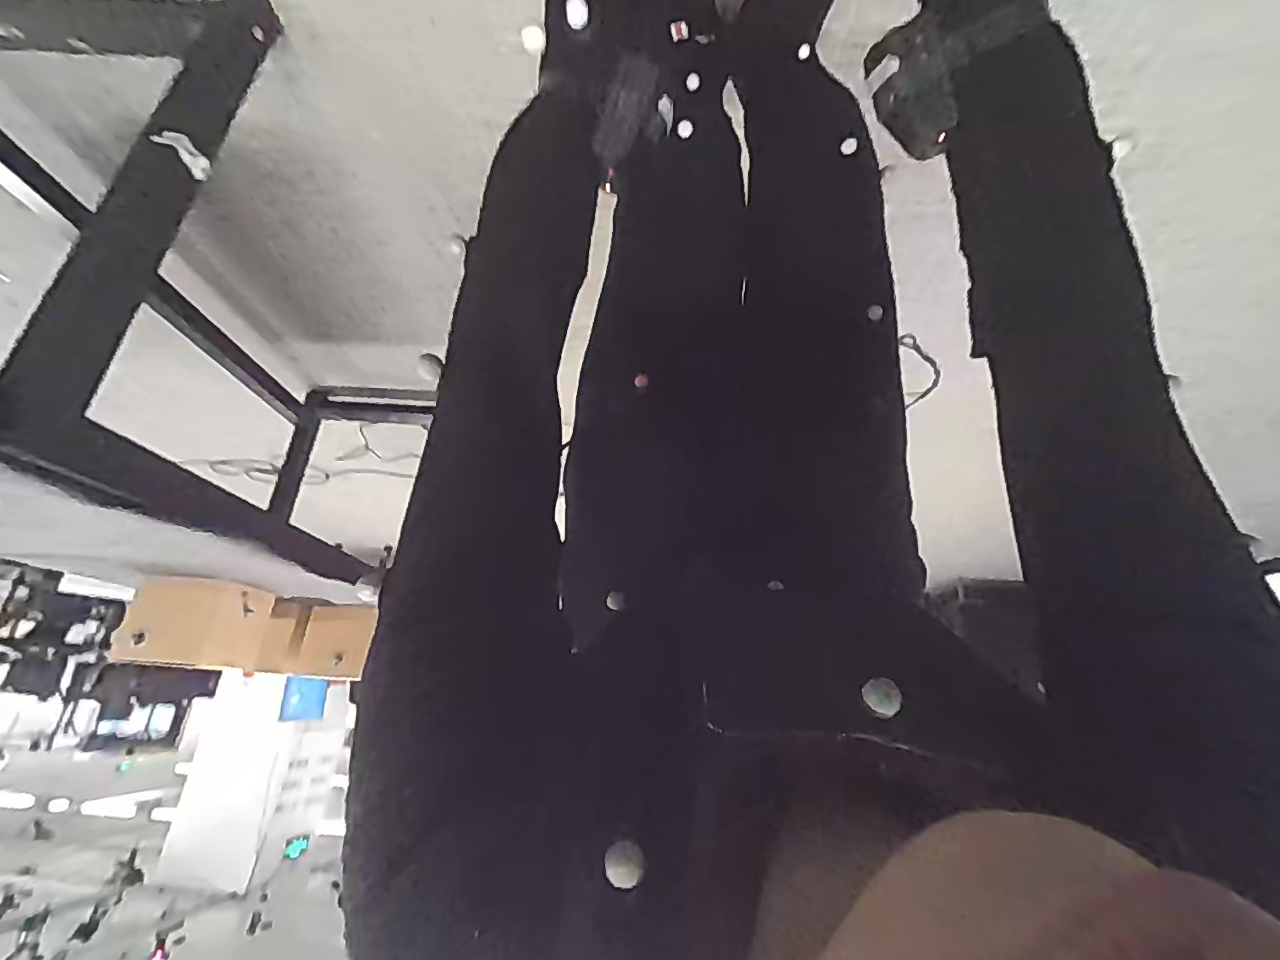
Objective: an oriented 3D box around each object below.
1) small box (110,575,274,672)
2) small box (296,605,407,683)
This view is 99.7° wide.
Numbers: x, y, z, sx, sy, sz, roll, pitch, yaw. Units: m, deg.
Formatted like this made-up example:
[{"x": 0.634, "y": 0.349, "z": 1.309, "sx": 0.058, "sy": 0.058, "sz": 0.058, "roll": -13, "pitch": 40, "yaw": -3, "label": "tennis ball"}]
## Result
[{"x": -0.910, "y": 0.298, "z": 1.119, "sx": 0.179, "sy": 0.176, "sz": 0.168, "roll": 3, "pitch": 157, "yaw": 0, "label": "small box"}, {"x": -0.717, "y": 0.415, "z": 1.366, "sx": 0.179, "sy": 0.176, "sz": 0.168, "roll": 3, "pitch": 157, "yaw": 0, "label": "small box"}]
